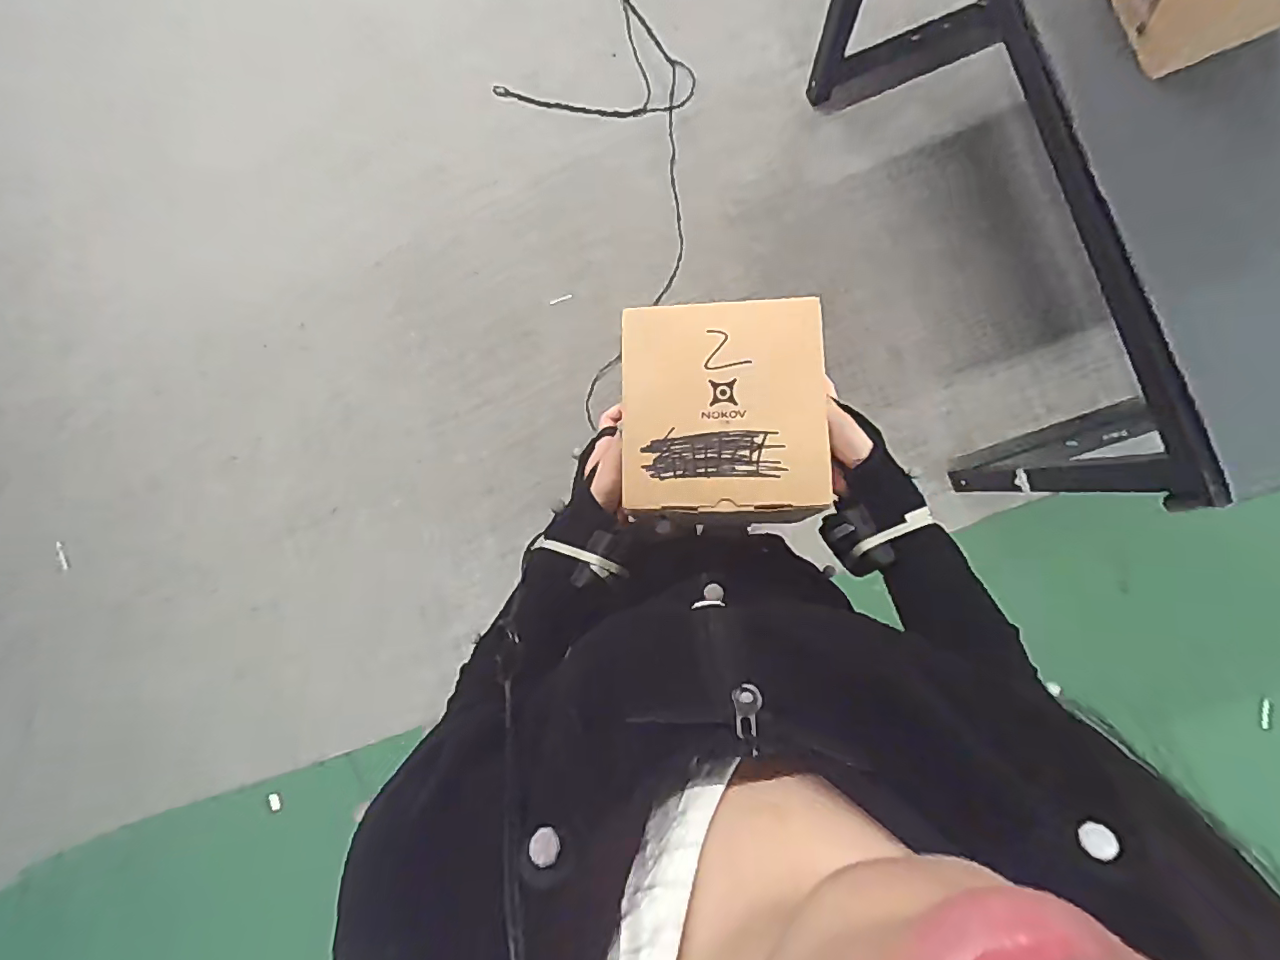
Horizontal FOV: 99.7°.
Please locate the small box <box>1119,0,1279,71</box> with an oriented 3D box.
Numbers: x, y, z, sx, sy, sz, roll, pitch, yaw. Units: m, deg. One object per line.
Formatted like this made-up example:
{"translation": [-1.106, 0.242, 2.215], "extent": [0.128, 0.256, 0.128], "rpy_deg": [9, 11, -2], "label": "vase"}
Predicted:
{"translation": [0.721, -0.639, 0.631], "extent": [0.179, 0.176, 0.168], "rpy_deg": [-21, 86, 5], "label": "small box"}
